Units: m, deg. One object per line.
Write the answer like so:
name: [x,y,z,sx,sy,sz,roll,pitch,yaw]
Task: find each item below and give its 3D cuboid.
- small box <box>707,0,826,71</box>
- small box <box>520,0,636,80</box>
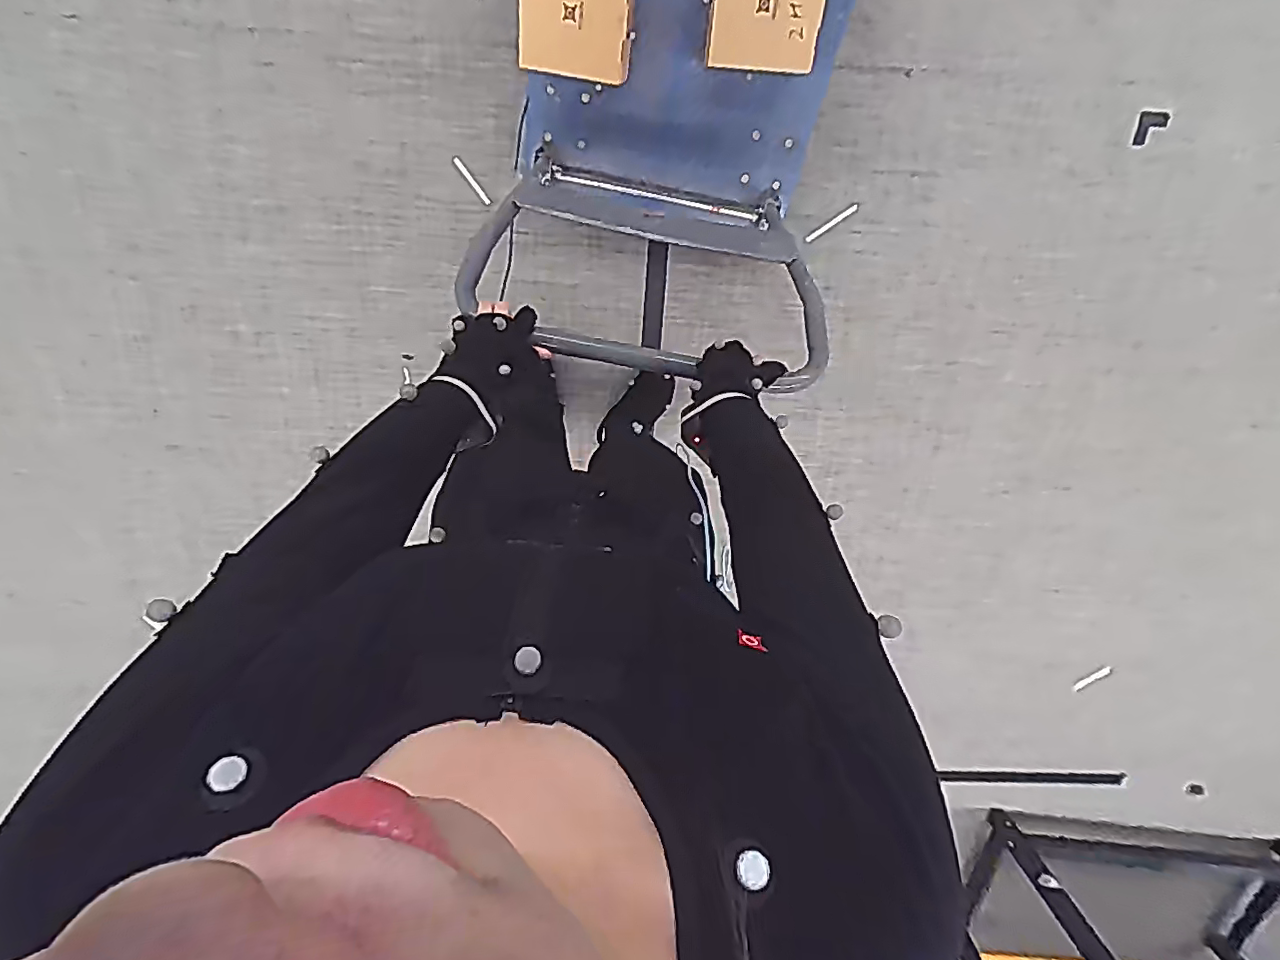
small box: [0.209,-0.799,0.910,0.179,0.176,0.168,5,129,0]
small box: [-0.102,-0.804,0.930,0.179,0.176,0.168,7,129,-3]
